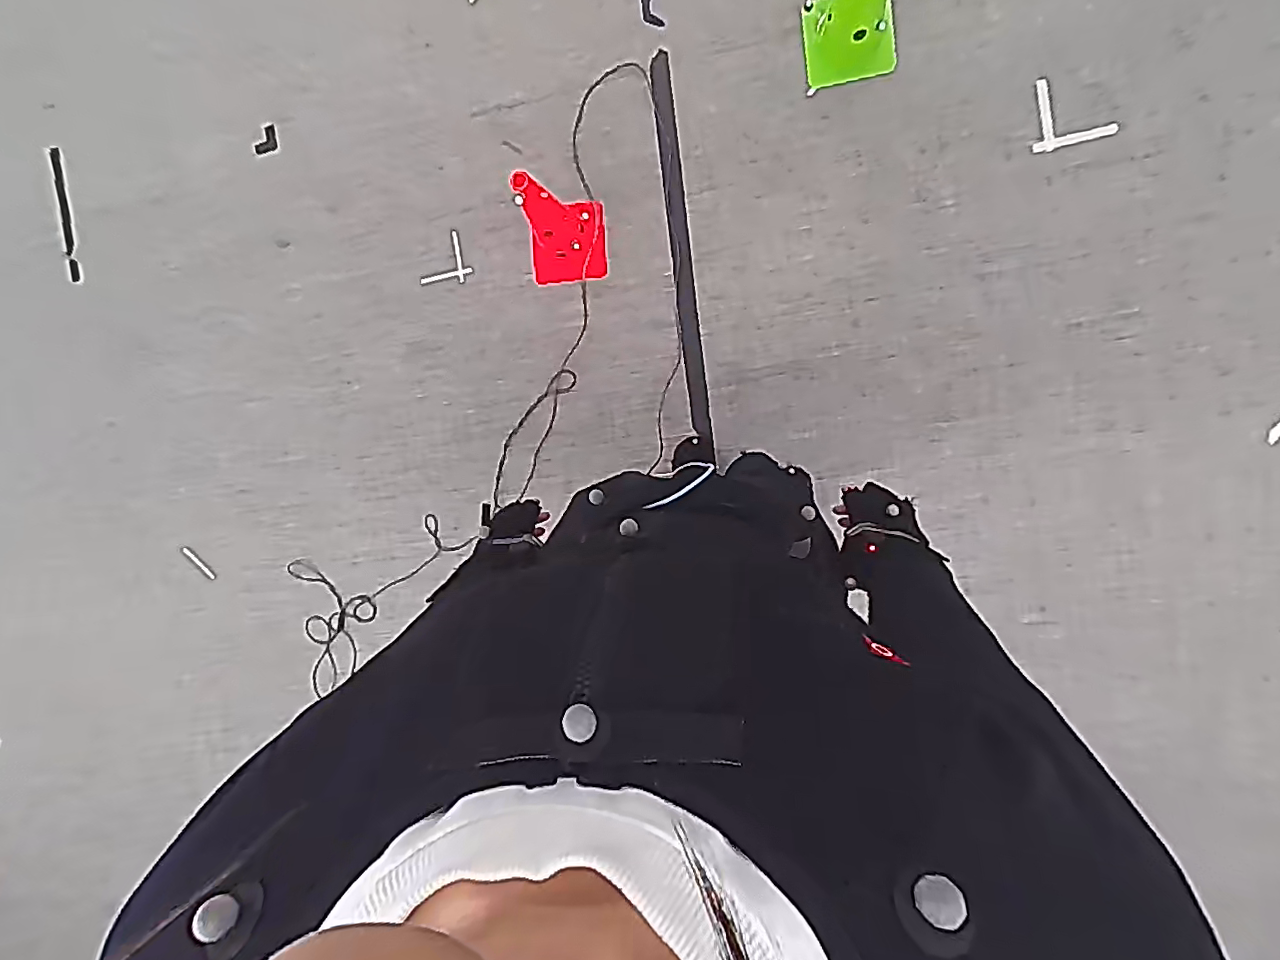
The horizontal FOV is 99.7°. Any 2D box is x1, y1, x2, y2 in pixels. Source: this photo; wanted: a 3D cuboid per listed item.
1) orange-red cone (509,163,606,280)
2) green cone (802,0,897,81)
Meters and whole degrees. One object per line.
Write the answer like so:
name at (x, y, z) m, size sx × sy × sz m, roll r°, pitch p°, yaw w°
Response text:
orange-red cone at (-0.216, -0.617, 1.242) m, size 0.199 × 0.360 × 0.198 m, roll -2°, pitch 93°, yaw 10°
green cone at (0.467, -1.037, 1.096) m, size 0.202 × 0.368 × 0.200 m, roll -7°, pitch 94°, yaw 8°
